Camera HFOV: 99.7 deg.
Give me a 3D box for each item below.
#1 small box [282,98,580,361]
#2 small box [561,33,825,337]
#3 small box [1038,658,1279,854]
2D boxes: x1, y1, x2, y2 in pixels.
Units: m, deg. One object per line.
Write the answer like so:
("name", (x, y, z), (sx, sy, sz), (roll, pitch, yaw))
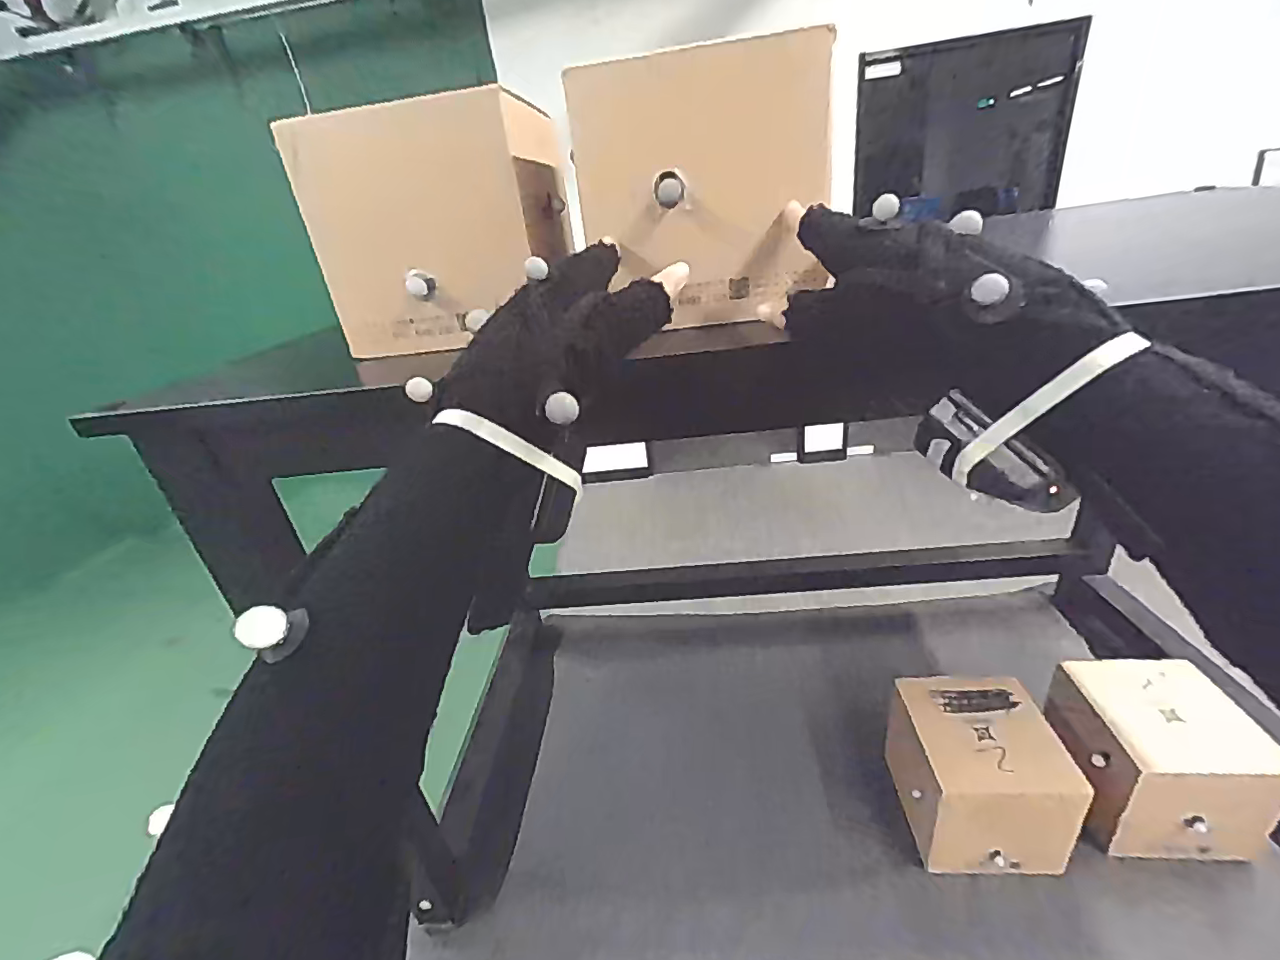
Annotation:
("small box", (-0.155, -0.211, 0.474), (0.168, 0.176, 0.179), (-4, 28, 7))
("small box", (0.048, -0.217, 0.435), (0.168, 0.176, 0.179), (-5, 26, 7))
("small box", (0.678, 0.366, 0.724), (0.168, 0.176, 0.179), (-4, 26, 9))
